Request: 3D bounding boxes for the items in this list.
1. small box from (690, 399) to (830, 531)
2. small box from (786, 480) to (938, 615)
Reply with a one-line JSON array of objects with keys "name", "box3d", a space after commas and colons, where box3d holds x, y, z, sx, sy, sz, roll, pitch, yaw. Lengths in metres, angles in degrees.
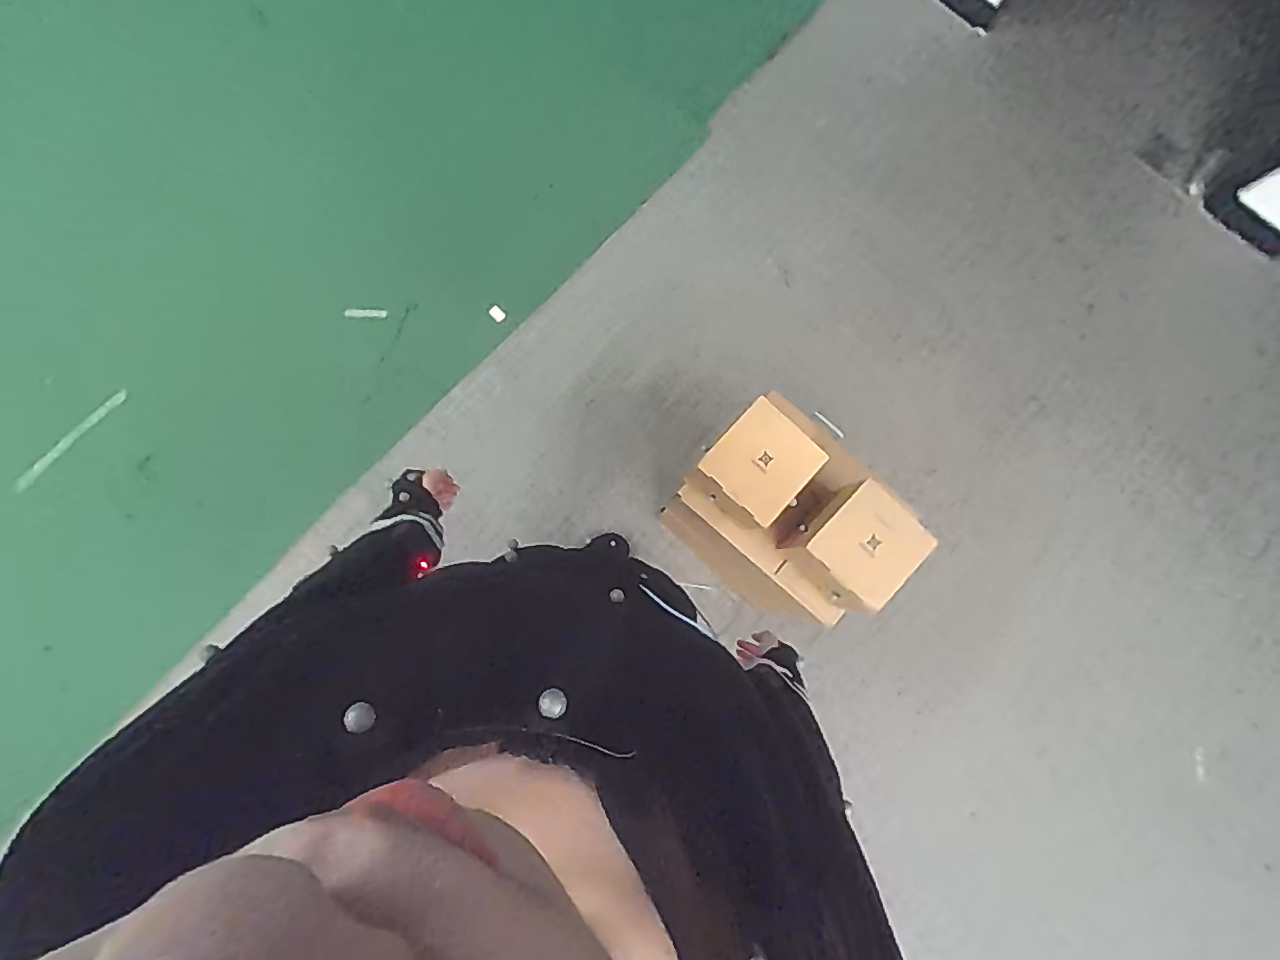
[{"name": "small box", "box3d": [0.213, -0.021, 1.019, 0.168, 0.176, 0.179, 43, 84, 2]}, {"name": "small box", "box3d": [0.396, 0.129, 1.006, 0.179, 0.176, 0.168, -44, 85, -9]}]
